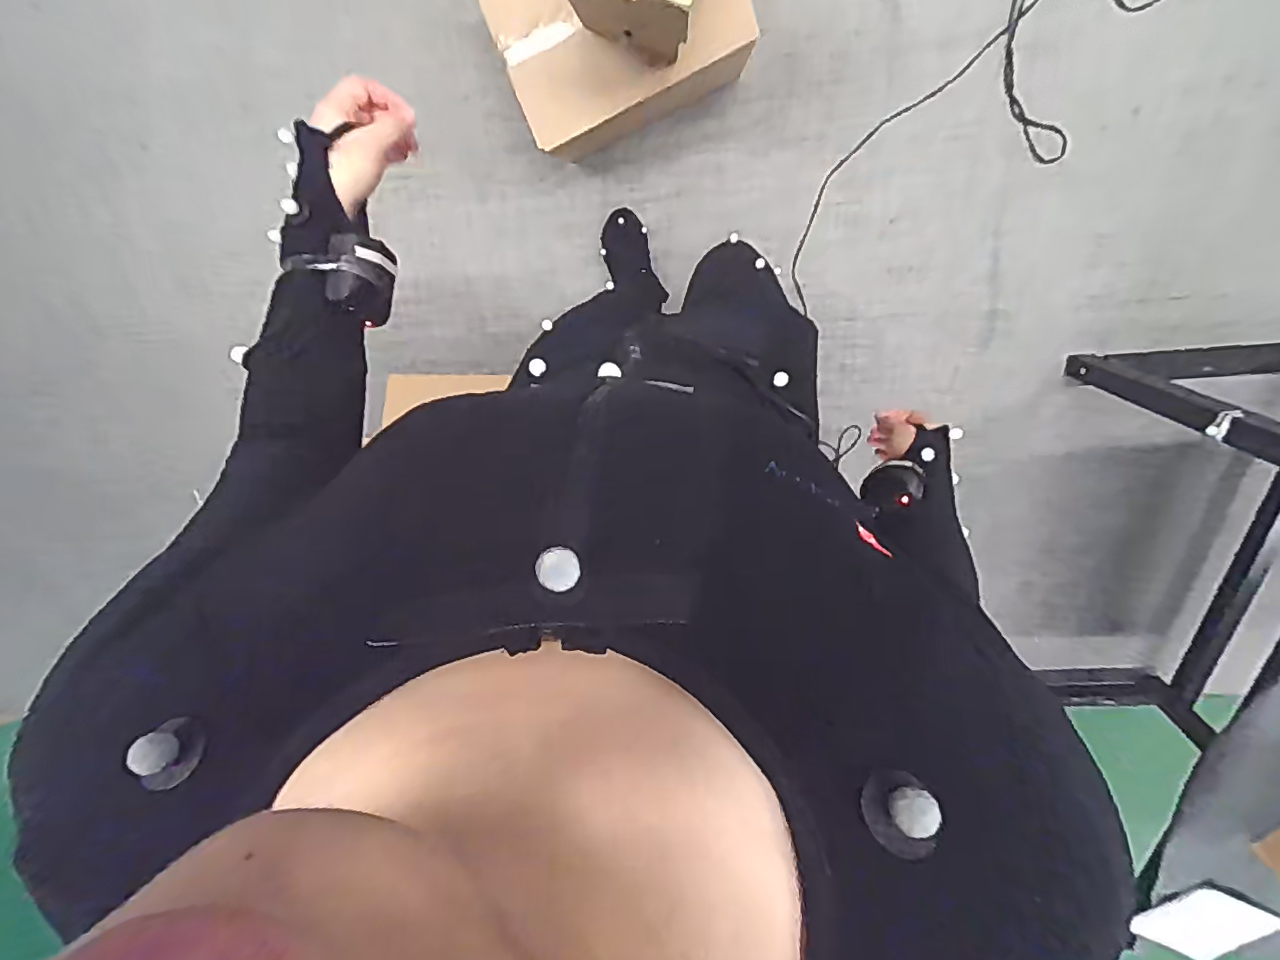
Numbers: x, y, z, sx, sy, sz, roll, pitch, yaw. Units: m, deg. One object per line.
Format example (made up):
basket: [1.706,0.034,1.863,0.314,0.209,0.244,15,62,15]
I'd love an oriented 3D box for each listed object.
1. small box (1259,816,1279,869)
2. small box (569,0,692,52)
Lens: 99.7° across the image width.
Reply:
small box: [1.275,0.687,0.950,0.168,0.176,0.179,23,115,-9]
small box: [0.002,-0.745,0.765,0.168,0.176,0.179,17,119,-6]
